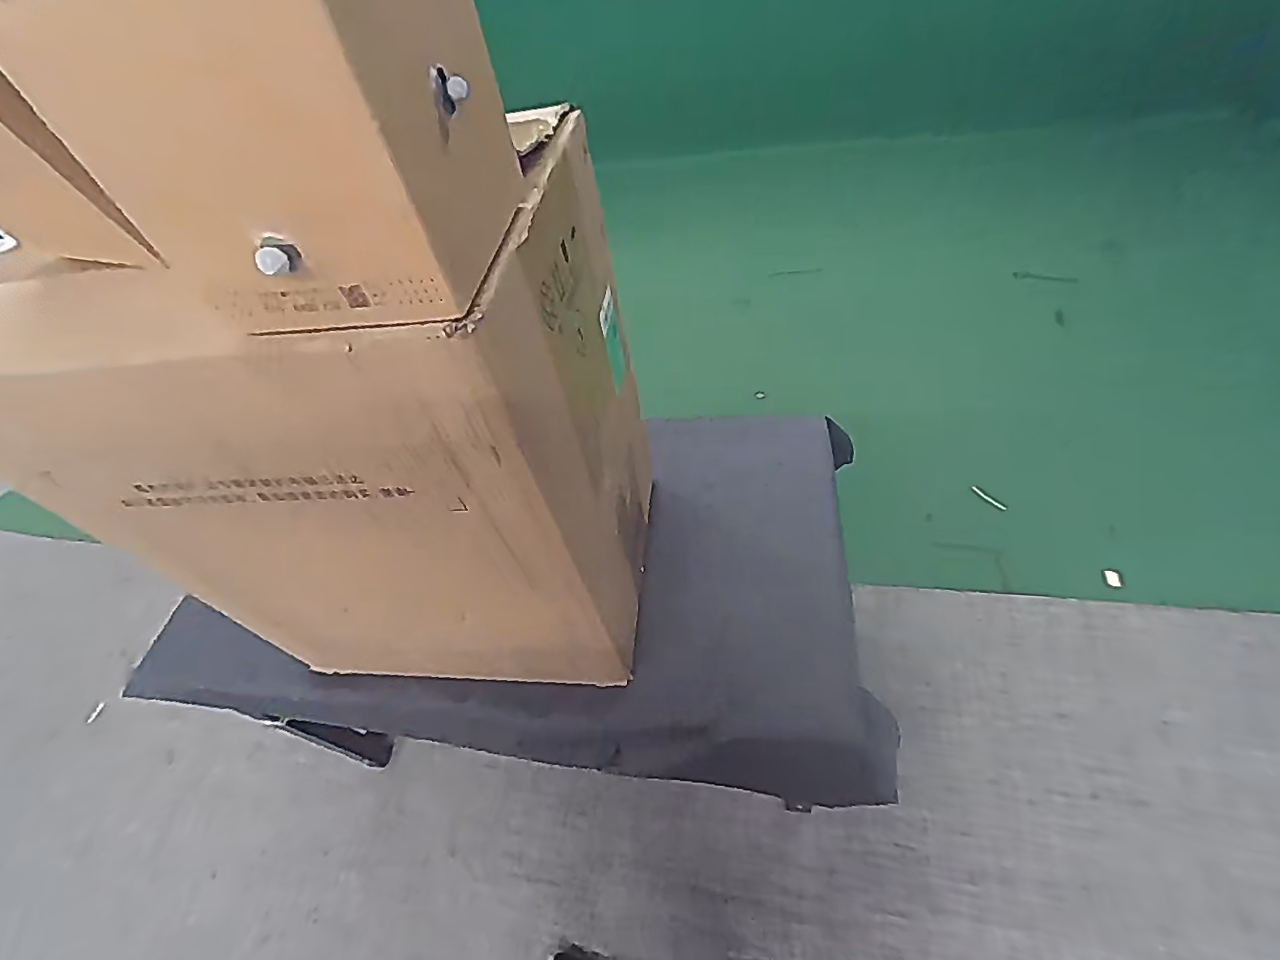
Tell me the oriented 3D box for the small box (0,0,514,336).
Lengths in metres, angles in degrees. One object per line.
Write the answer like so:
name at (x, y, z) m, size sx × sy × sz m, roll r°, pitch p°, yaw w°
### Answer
small box at (-0.190, -0.209, 0.327) m, size 0.168 × 0.176 × 0.179 m, roll -1°, pitch 52°, yaw 10°

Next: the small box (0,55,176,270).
small box at (-0.442, -0.286, 0.417) m, size 0.179 × 0.176 × 0.168 m, roll 11°, pitch 65°, yaw 17°
